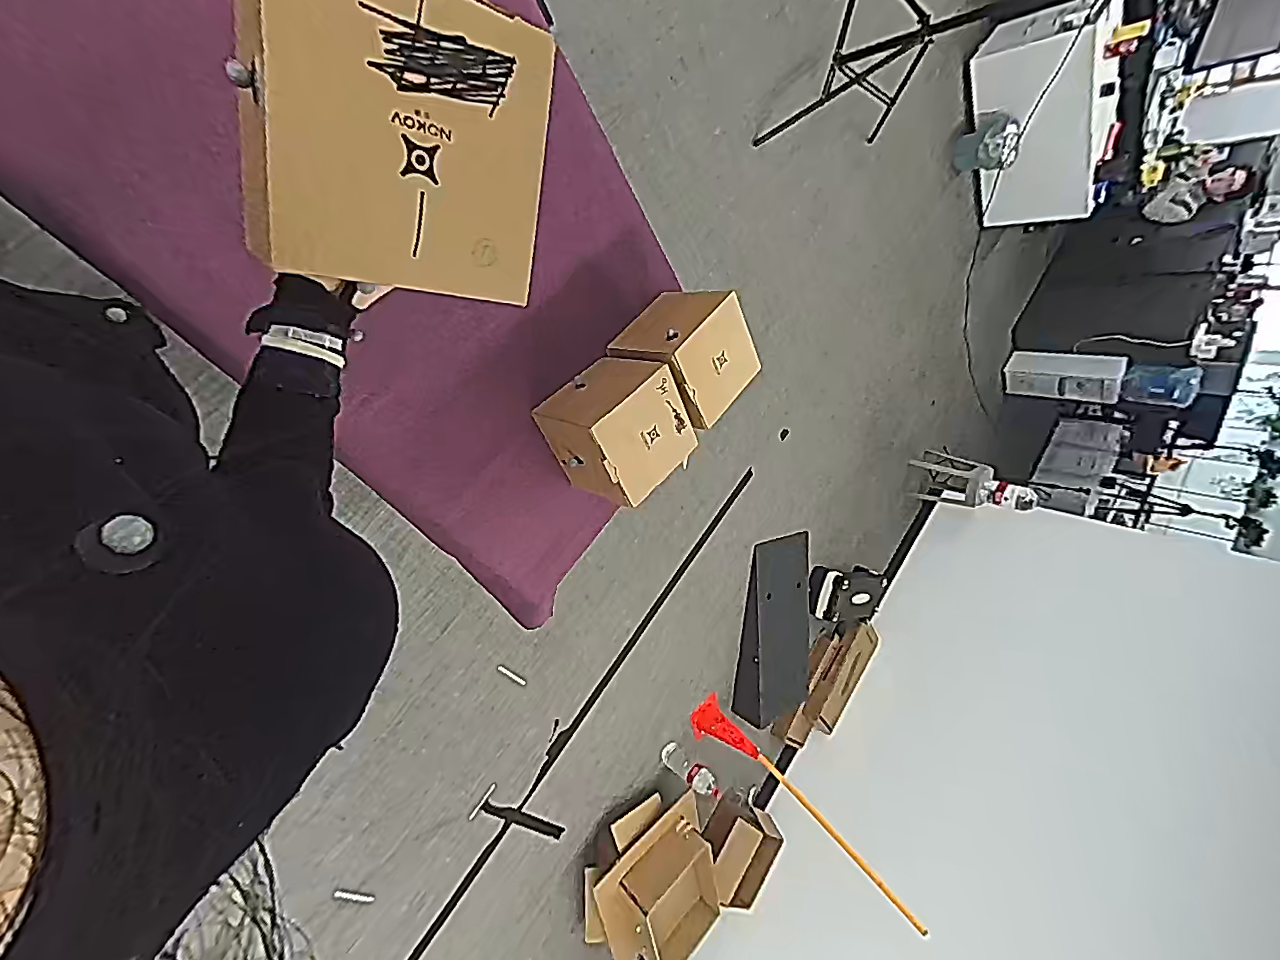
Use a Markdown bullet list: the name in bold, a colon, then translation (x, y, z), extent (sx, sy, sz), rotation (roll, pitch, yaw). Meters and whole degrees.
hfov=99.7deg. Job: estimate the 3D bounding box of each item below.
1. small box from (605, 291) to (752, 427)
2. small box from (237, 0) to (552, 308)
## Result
- **small box**: translation (0.070, -0.224, 0.976), extent (0.179, 0.176, 0.168), rotation (-49, 132, -21)
- **small box**: translation (-0.187, -0.240, 0.400), extent (0.168, 0.176, 0.179), rotation (-5, 116, -39)
